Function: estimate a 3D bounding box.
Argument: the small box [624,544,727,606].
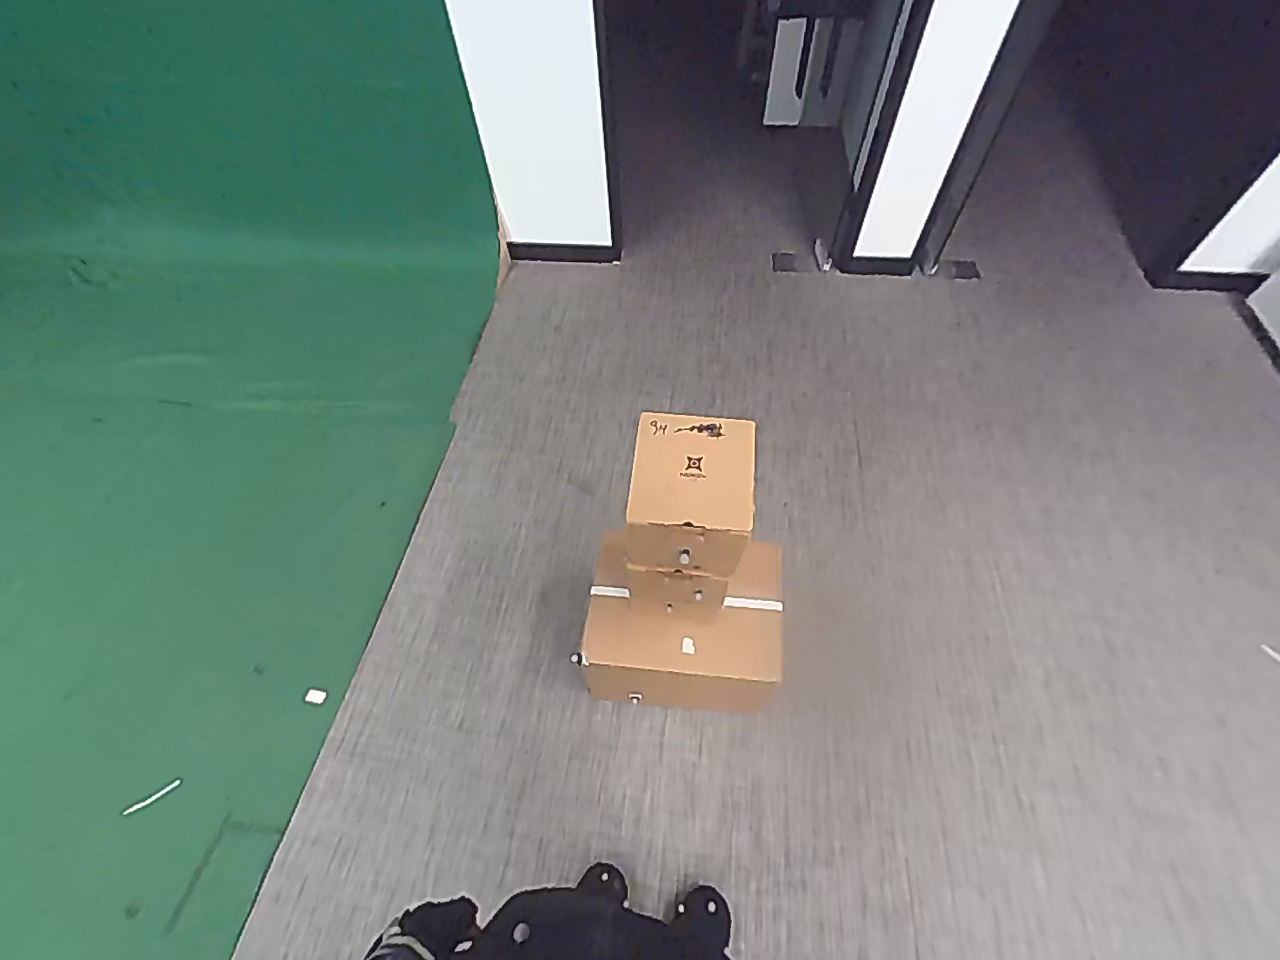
[{"bbox_3d":[0.068,0.111,0.951,0.168,0.176,0.179,5,61,4],"label":"small box"}]

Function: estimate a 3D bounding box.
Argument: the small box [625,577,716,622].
[{"bbox_3d":[0.076,0.176,1.096,0.179,0.176,0.168,11,61,8],"label":"small box"}]

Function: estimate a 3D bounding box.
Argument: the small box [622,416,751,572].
[{"bbox_3d":[0.070,0.027,0.810,0.168,0.176,0.179,6,63,4],"label":"small box"}]
